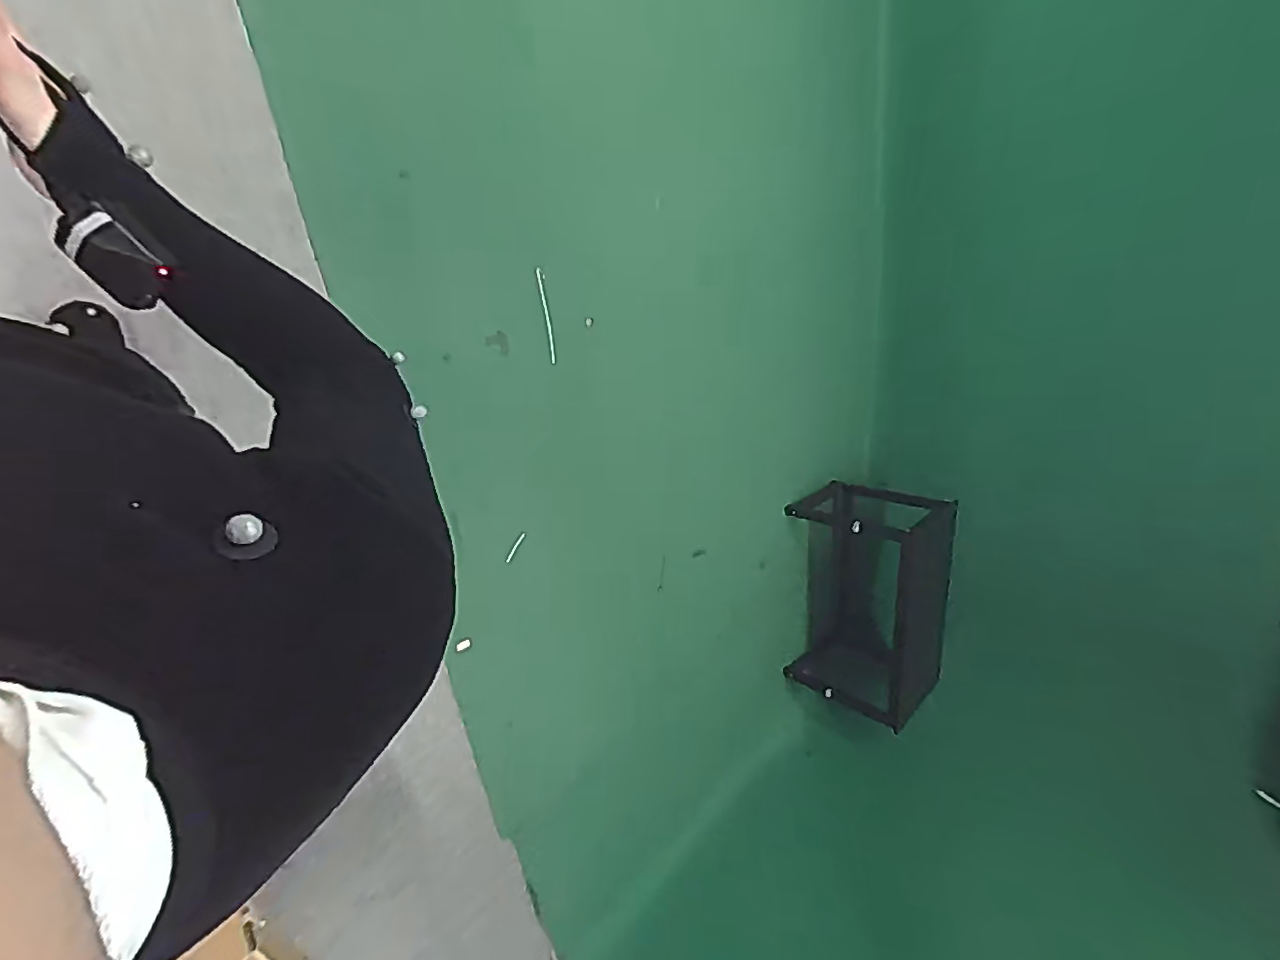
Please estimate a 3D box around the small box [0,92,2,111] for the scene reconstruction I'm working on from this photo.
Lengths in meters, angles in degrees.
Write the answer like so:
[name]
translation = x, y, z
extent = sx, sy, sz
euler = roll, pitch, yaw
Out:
[small box]
translation = -0.617, -0.382, 0.386
extent = 0.168, 0.176, 0.179
euler = -21, 120, -38
